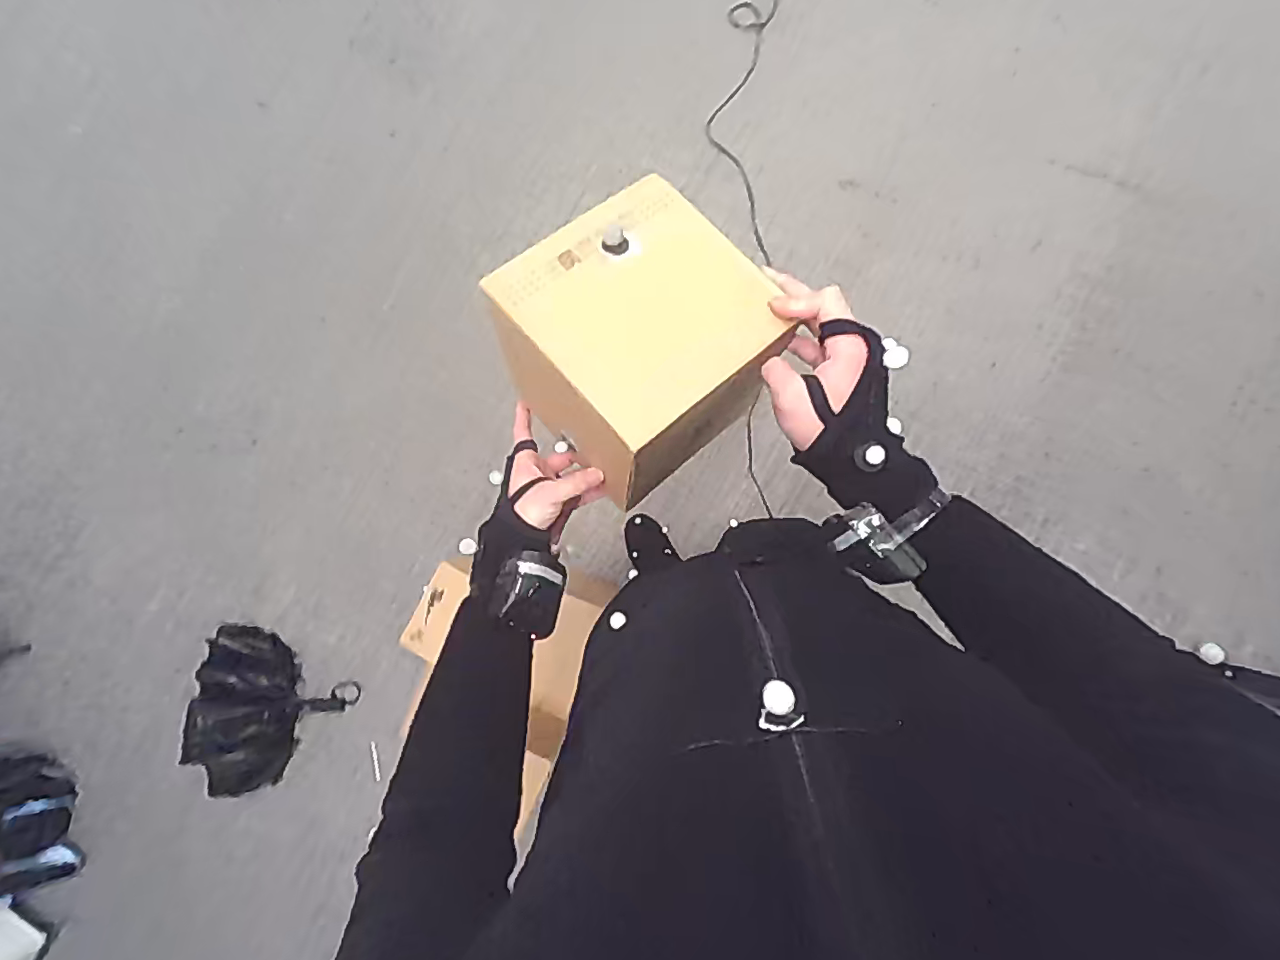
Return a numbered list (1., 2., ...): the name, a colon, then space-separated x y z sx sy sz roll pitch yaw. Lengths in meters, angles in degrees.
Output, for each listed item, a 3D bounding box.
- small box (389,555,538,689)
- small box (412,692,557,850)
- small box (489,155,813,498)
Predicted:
1. small box: -0.313 0.249 1.001 0.179 0.176 0.168 28 88 5
2. small box: -0.271 0.512 0.983 0.179 0.176 0.168 26 88 0
3. small box: 0.002 -0.116 0.448 0.168 0.179 0.176 -40 78 -14
